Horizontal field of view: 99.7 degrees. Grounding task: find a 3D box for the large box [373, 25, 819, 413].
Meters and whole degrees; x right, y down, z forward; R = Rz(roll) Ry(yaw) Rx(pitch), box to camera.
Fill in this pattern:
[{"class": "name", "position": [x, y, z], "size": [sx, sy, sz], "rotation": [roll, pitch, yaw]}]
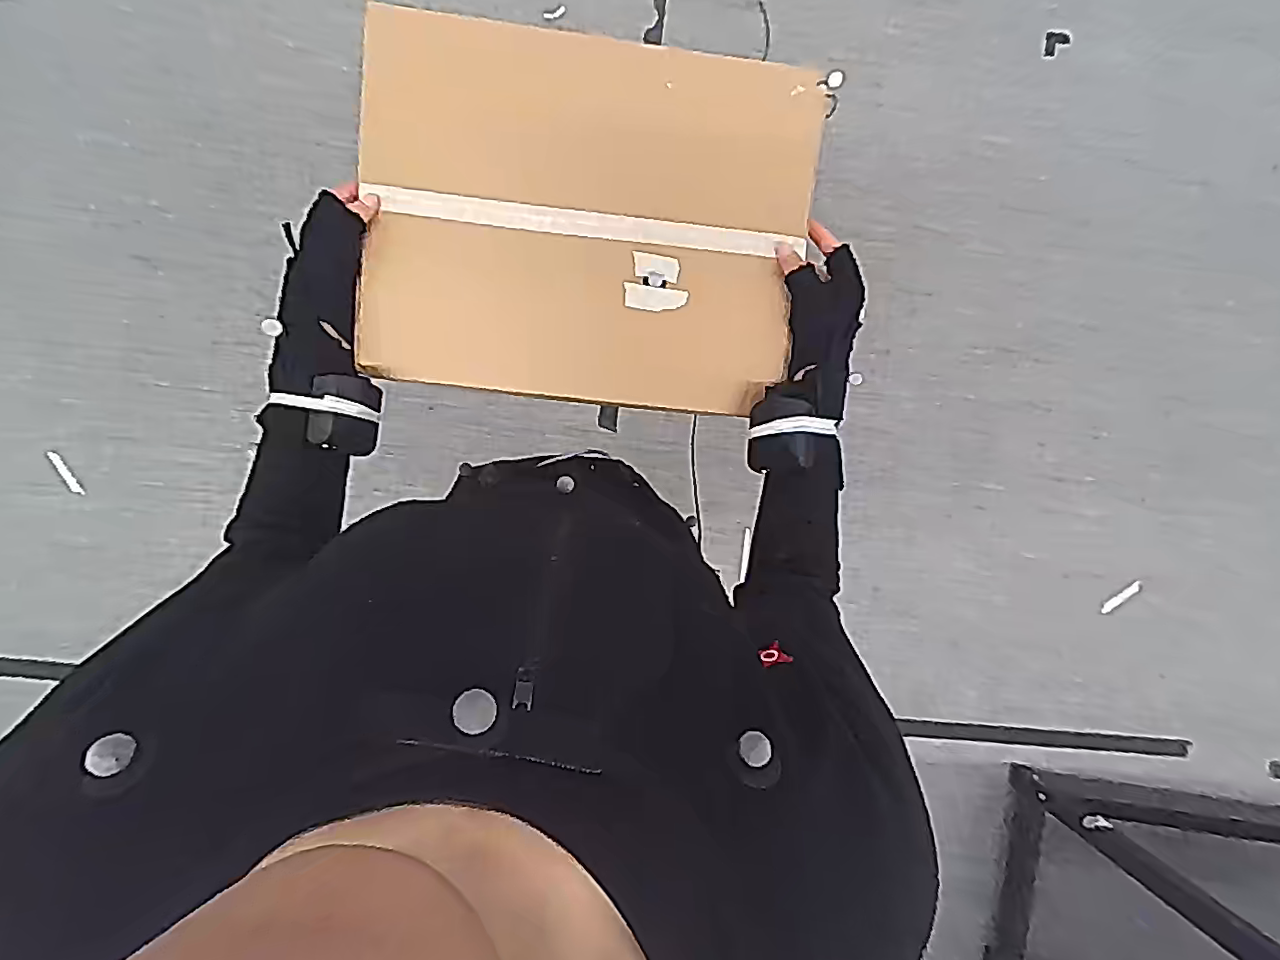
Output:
[{"class": "large box", "position": [-0.054, -0.253, 0.653], "size": [0.408, 0.320, 0.320], "rotation": [6, 98, -5]}]
